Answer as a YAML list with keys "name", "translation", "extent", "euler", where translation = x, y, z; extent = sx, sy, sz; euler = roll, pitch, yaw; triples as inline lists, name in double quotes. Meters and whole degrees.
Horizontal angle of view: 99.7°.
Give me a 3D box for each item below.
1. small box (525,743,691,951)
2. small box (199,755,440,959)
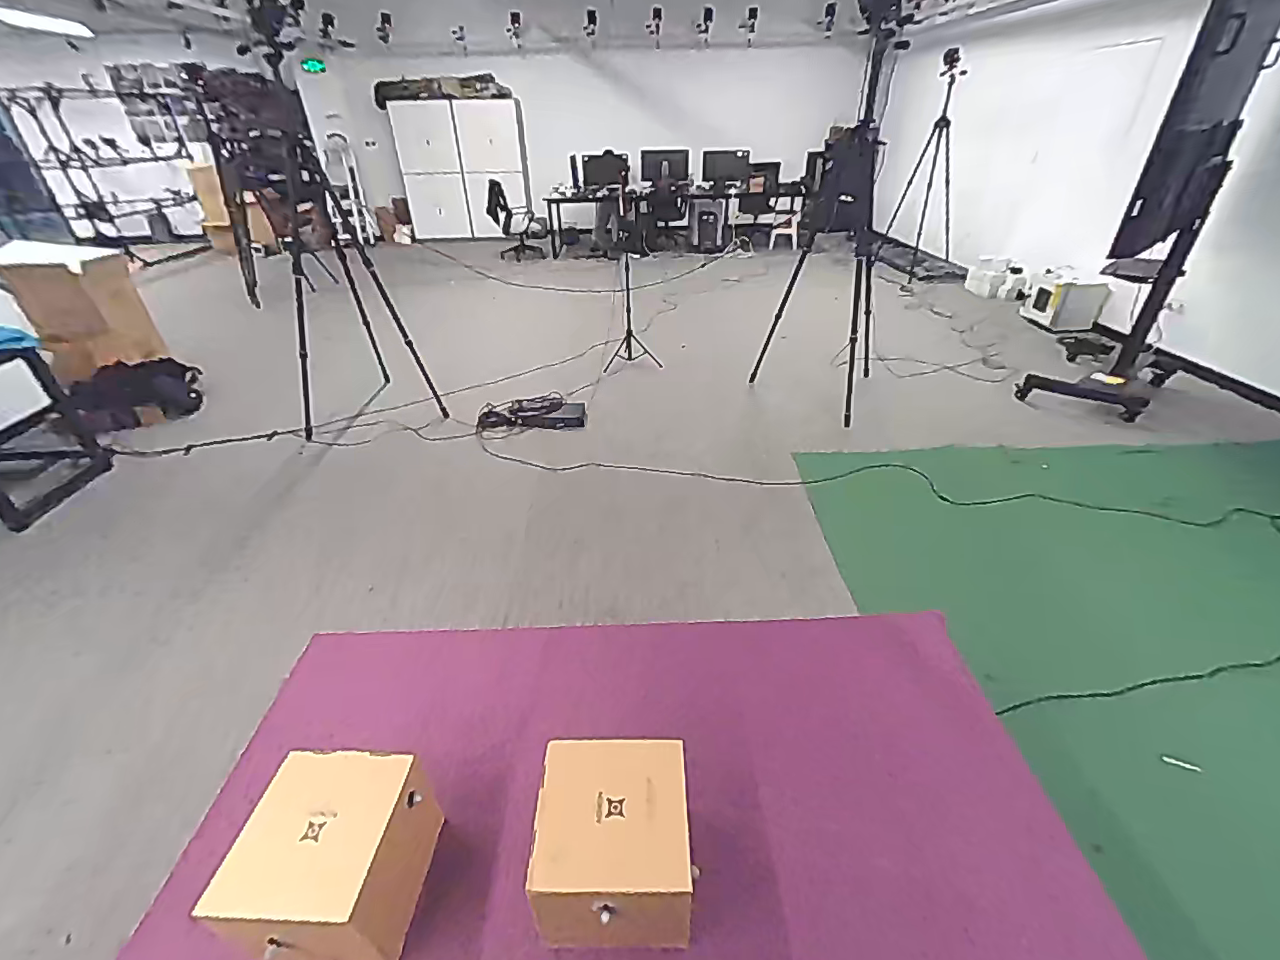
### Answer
- name: "small box"
  translation: [-0.029, 0.449, 0.666]
  extent: [0.179, 0.176, 0.168]
  euler: [-1, 33, 2]
- name: "small box"
  translation: [-0.363, 0.466, 0.659]
  extent: [0.168, 0.176, 0.179]
  euler: [0, 32, 3]
